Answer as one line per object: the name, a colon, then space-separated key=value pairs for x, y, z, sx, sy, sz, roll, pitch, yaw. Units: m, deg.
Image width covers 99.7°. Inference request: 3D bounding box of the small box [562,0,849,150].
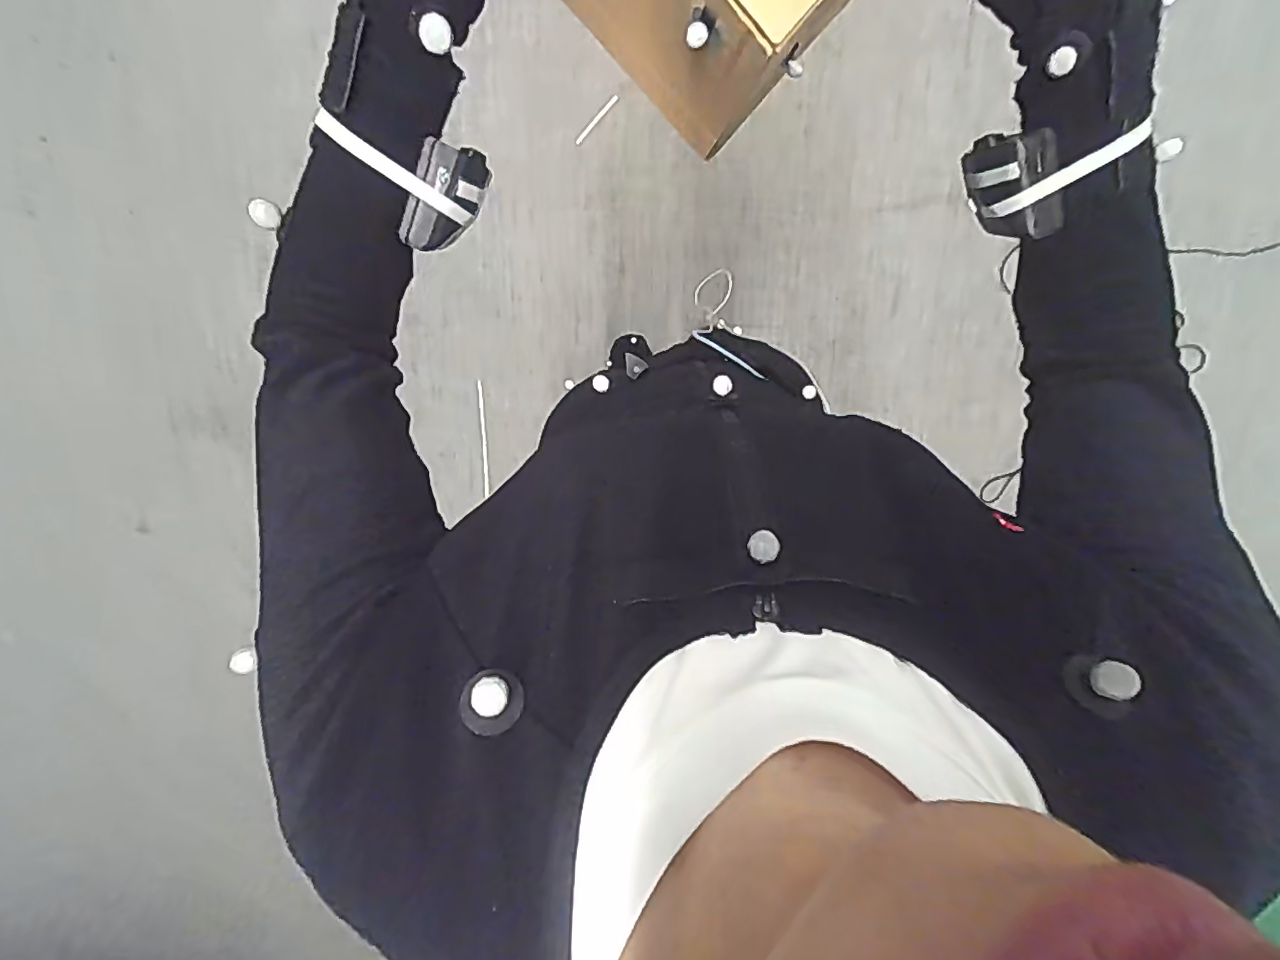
small box: x=0.053 y=-0.357 z=0.341 sx=0.179 sy=0.176 sz=0.168 roll=42 pitch=95 yaw=-14
